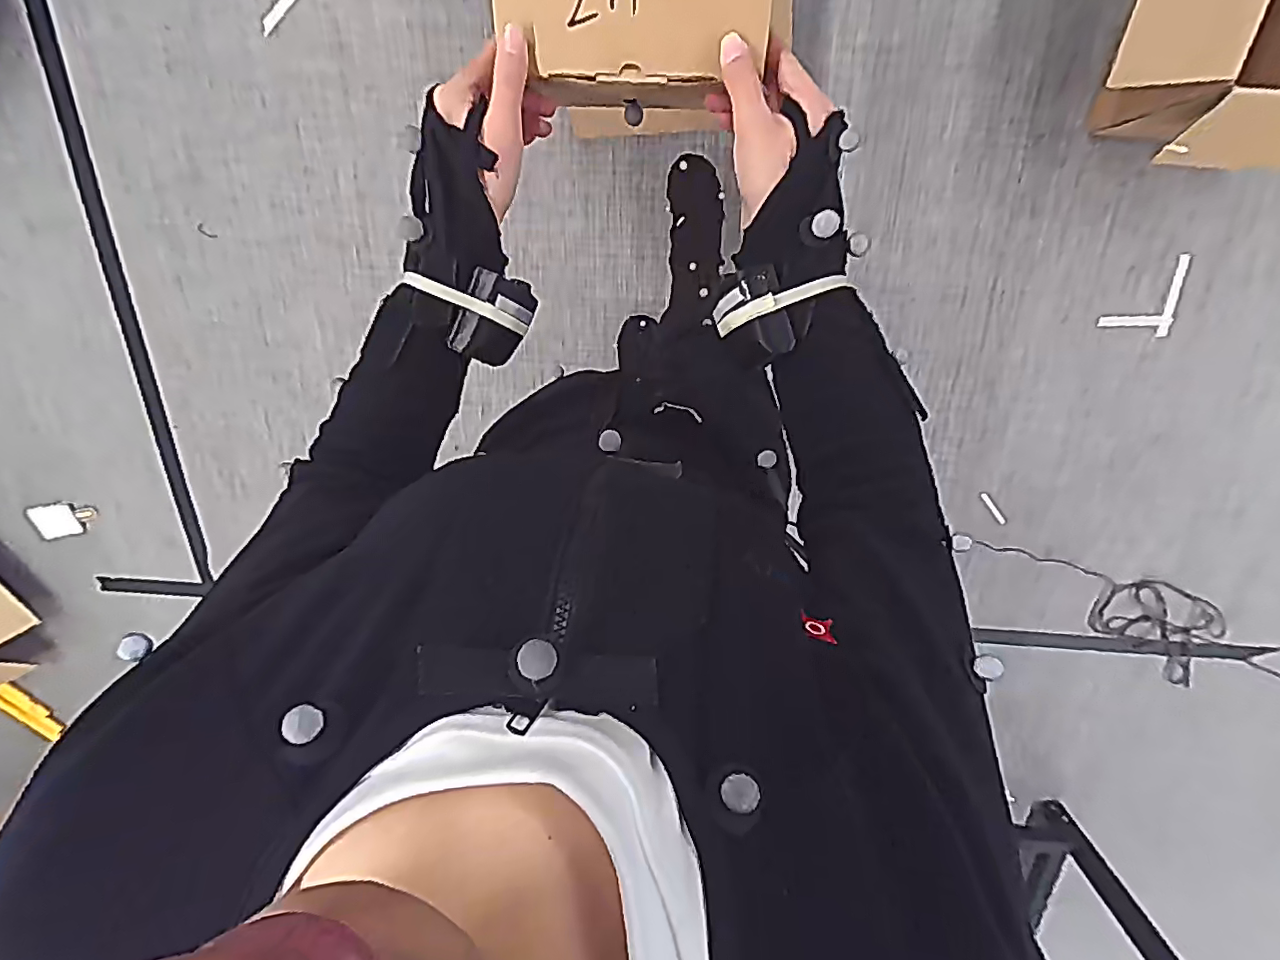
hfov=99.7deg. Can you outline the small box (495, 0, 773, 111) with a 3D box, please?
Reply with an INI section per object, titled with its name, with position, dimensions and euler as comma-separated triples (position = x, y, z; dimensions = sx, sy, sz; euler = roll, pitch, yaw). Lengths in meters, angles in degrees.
[small box]
position = -0.002, -0.364, 0.360
dimensions = 0.168, 0.176, 0.179
euler = 2, 119, 1
